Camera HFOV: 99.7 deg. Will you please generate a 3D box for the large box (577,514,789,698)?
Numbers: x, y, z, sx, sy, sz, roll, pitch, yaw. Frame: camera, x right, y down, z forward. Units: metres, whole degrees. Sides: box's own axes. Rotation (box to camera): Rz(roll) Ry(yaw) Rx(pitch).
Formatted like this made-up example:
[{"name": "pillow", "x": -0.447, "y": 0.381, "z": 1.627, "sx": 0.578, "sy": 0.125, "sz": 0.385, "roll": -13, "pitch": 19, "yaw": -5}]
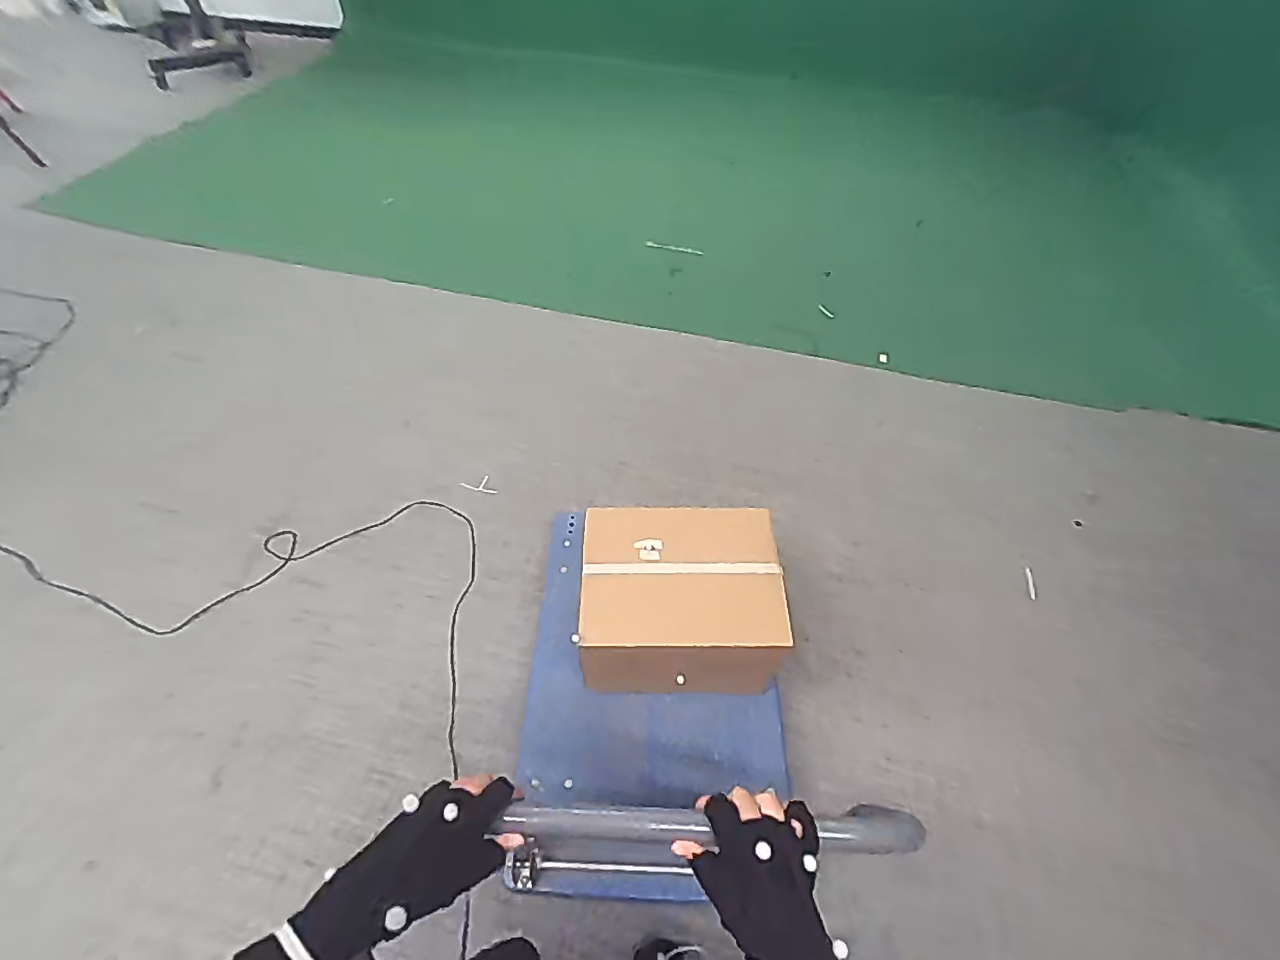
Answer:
[{"name": "large box", "x": 0.081, "y": 0.290, "z": 1.214, "sx": 0.408, "sy": 0.320, "sz": 0.320, "roll": 0, "pitch": 52, "yaw": 0}]
